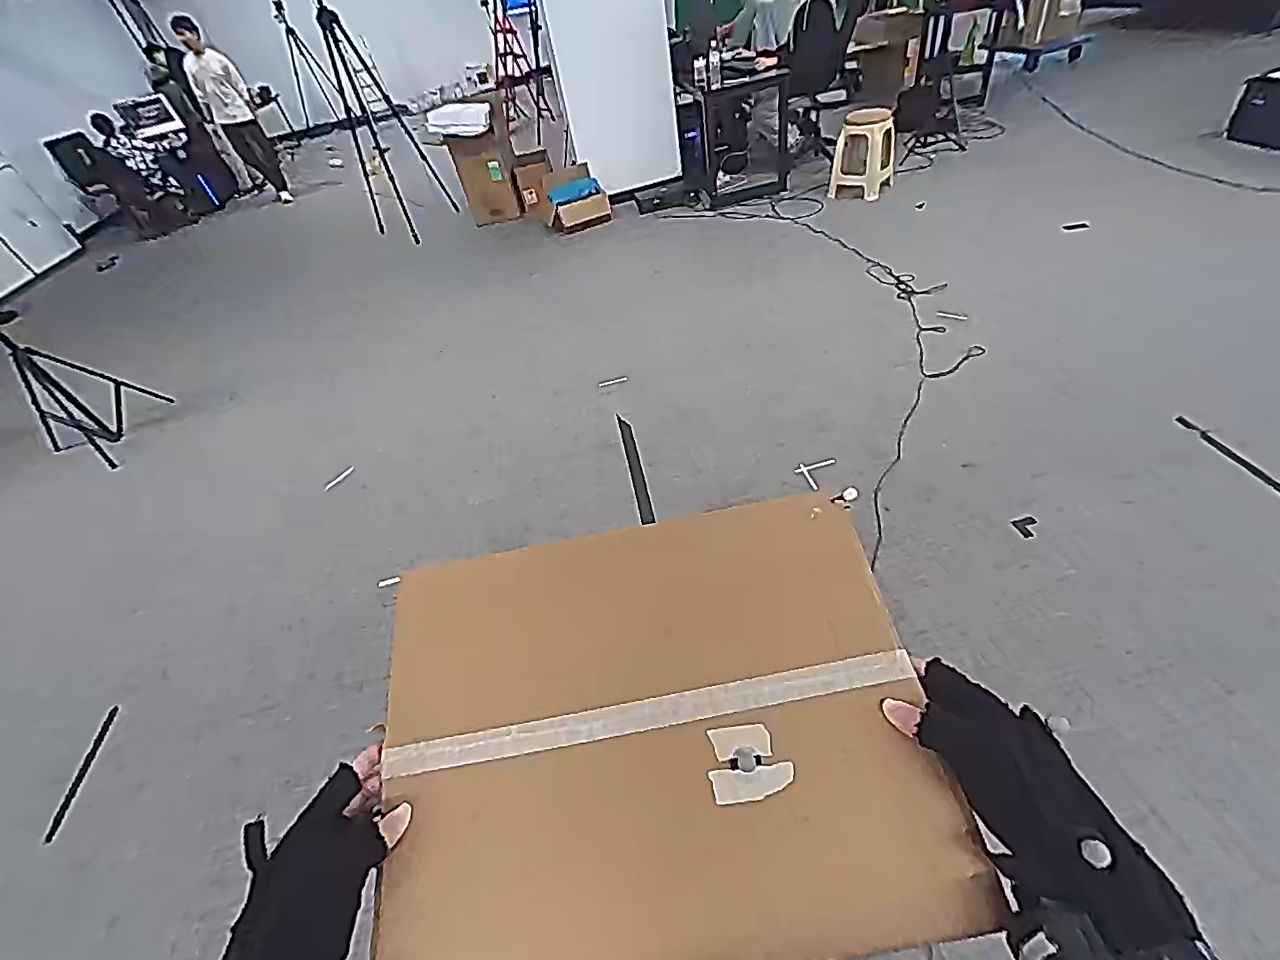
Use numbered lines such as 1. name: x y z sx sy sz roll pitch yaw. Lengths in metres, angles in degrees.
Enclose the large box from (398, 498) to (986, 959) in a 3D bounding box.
1. large box: 0.025 0.260 0.555 0.408 0.320 0.320 -11 59 1
